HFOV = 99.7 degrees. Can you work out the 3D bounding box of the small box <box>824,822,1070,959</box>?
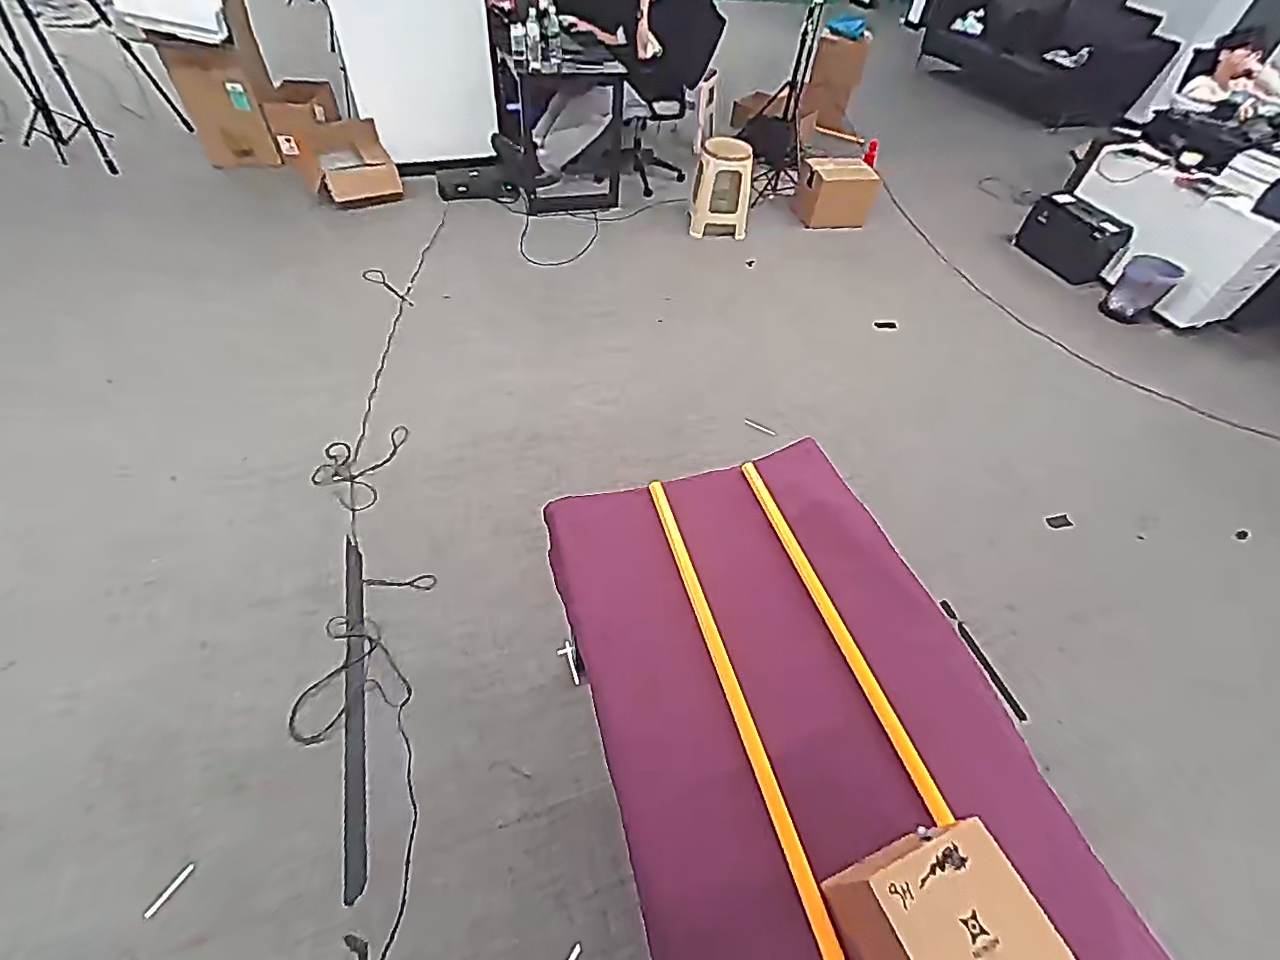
[{"bbox_3d":[0.349,0.532,0.629,0.168,0.176,0.179,-14,54,-16],"label":"small box"}]
